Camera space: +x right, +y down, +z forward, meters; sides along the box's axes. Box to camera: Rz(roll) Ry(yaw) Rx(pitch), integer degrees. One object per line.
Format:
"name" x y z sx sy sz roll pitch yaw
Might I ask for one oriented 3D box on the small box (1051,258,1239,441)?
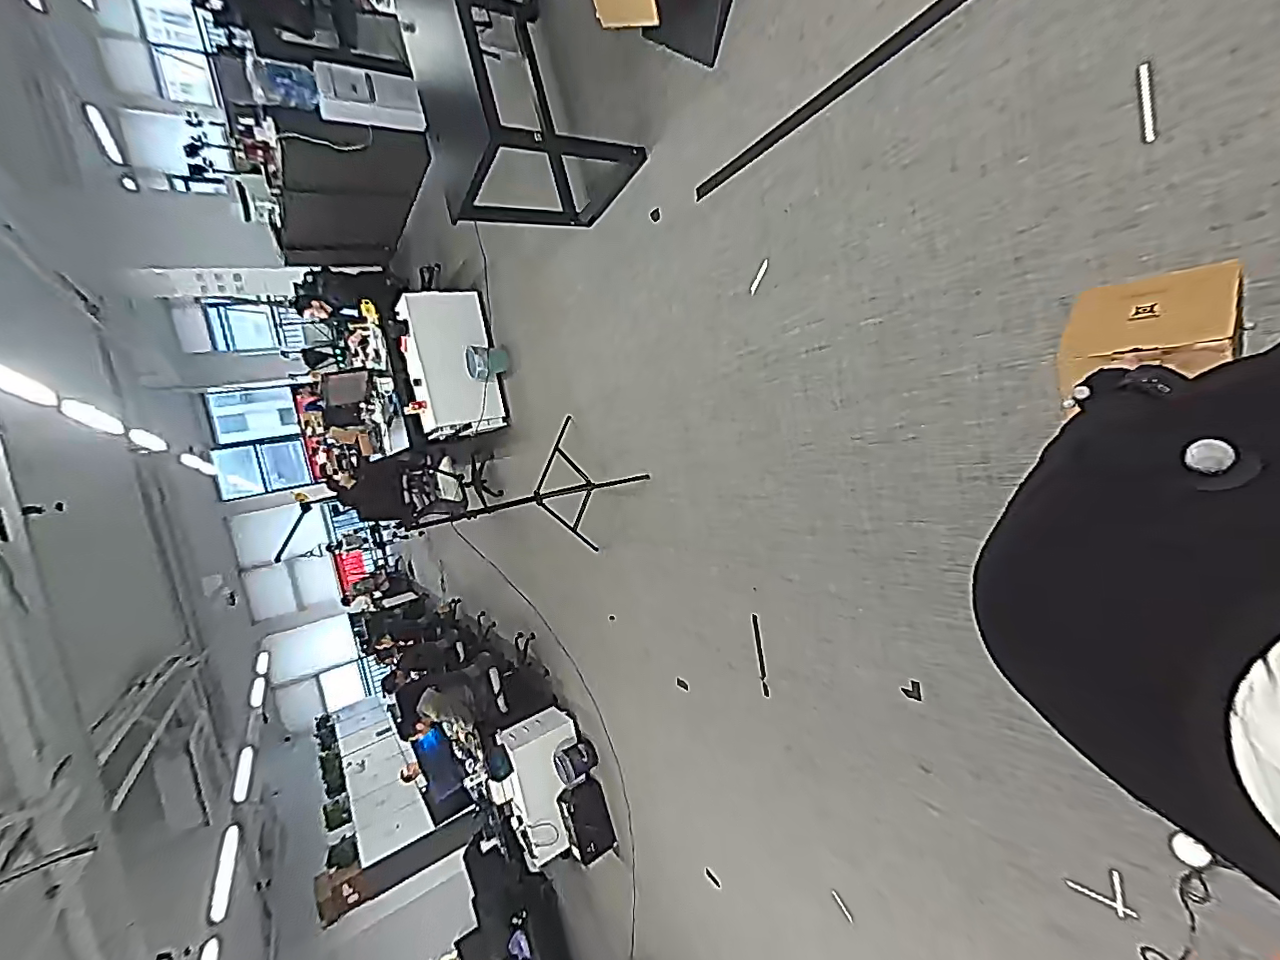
"small box" 0.702 -0.167 0.750 0.168 0.179 0.176 3 138 50
